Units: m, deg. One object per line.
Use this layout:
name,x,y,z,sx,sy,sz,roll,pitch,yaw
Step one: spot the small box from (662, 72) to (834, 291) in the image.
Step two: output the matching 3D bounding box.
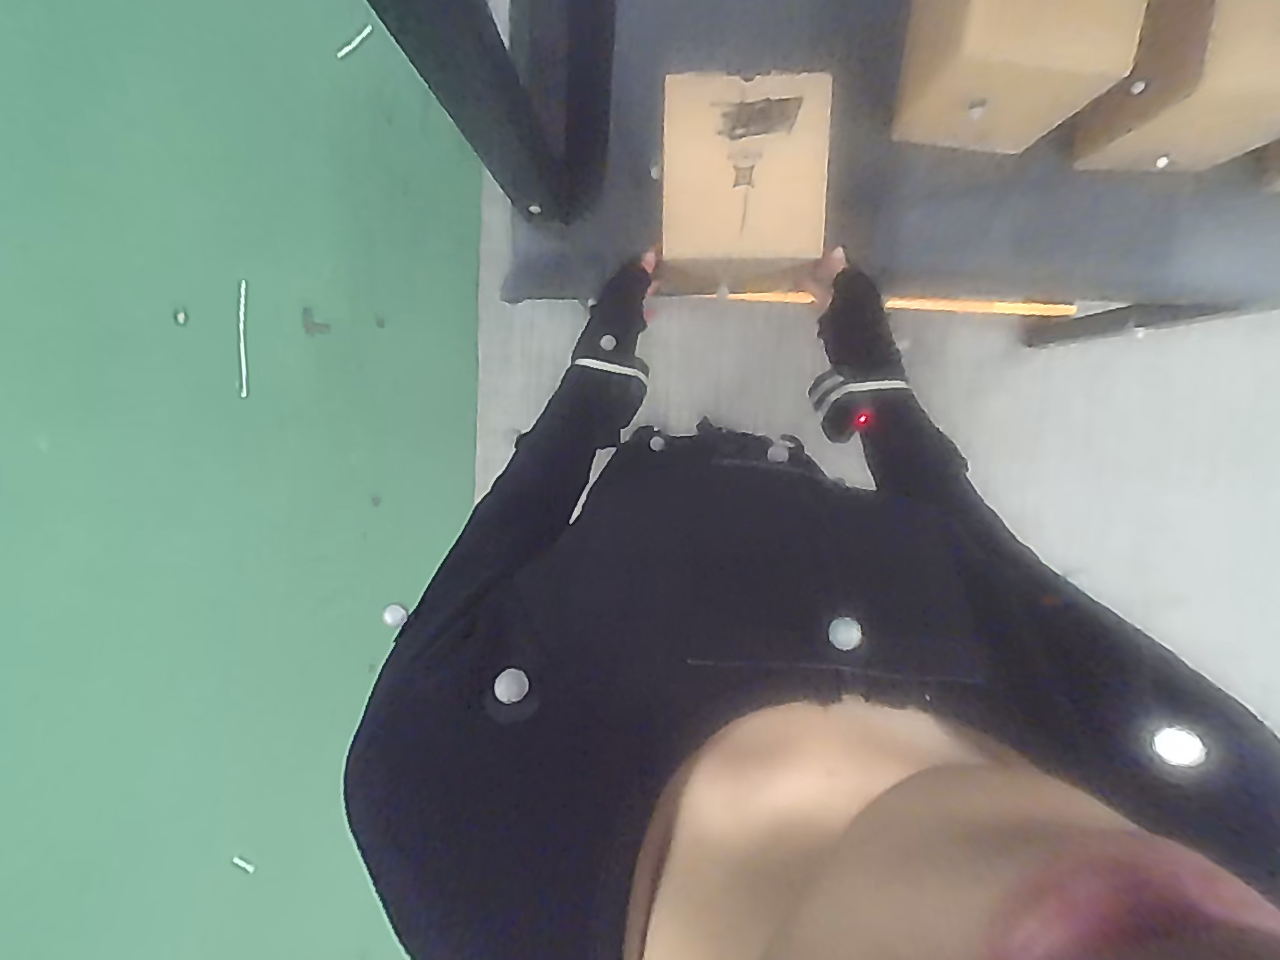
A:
small box,0.111,-0.327,0.624,0.168,0.176,0.179,1,99,2

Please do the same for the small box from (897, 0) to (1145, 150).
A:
small box,0.406,-0.495,0.593,0.168,0.176,0.179,7,97,1
